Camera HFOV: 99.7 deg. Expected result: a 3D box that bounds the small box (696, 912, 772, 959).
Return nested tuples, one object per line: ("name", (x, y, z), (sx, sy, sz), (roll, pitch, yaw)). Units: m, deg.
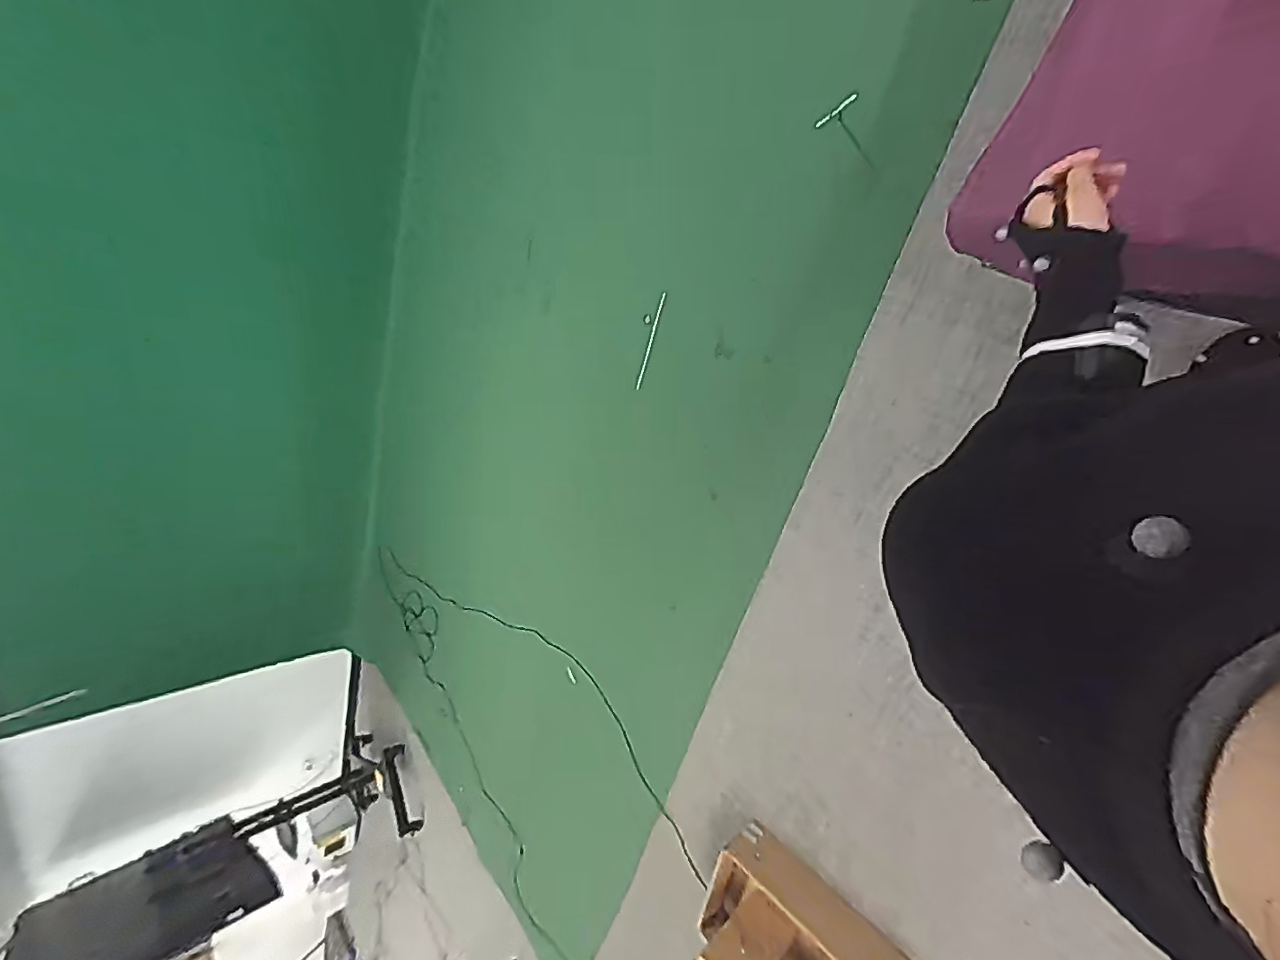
("small box", (0.282, 1.499, 1.662), (0.168, 0.176, 0.179), (29, 114, 38))
